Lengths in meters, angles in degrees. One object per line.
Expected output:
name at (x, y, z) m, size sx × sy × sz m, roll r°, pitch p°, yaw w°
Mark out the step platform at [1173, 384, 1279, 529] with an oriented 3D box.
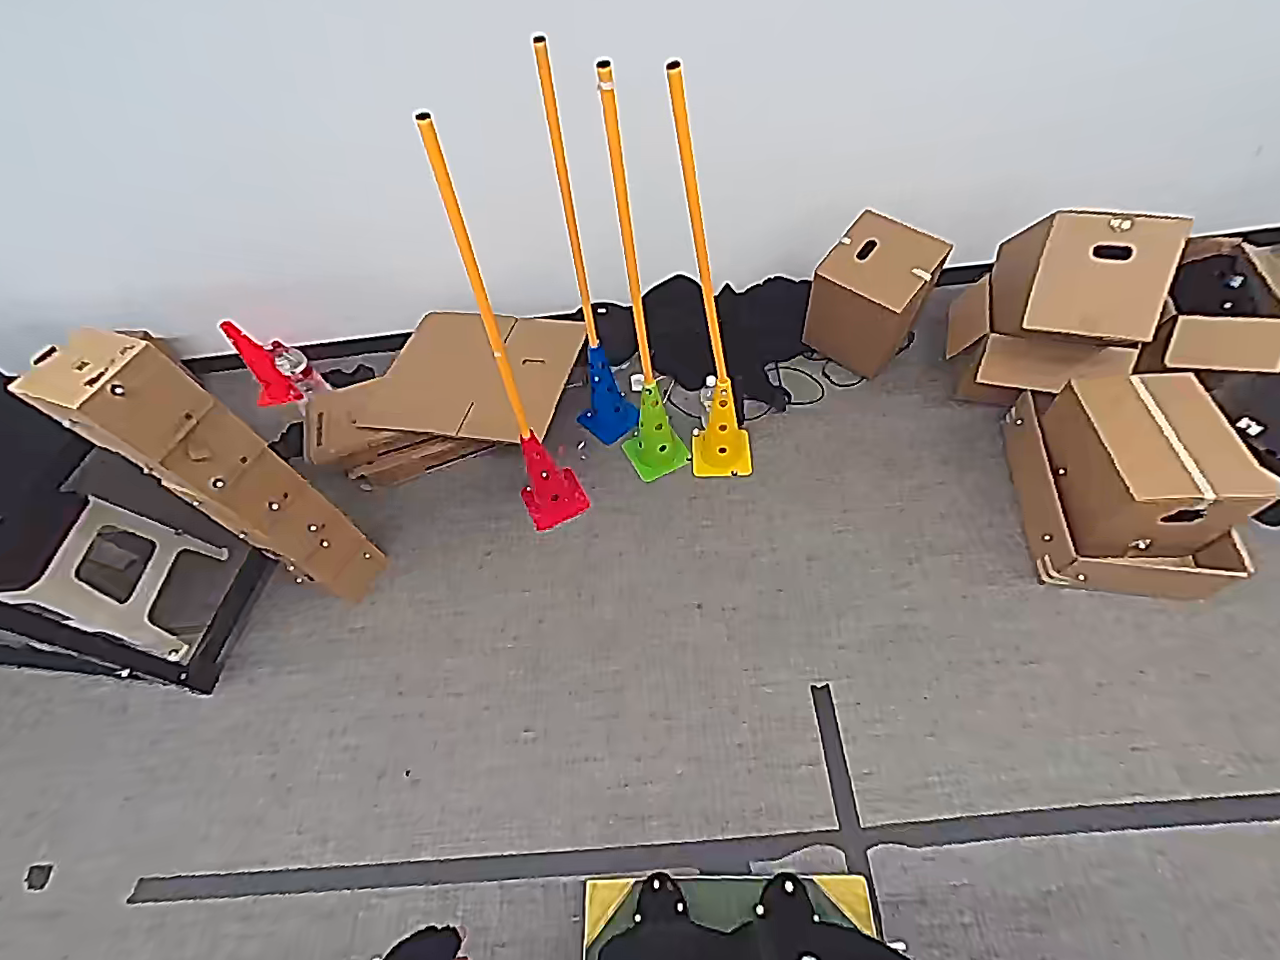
step platform at (2.003, -0.142, 1.627) m, size 0.684 × 0.204 × 0.286 m, roll -30°, pitch 57°, yaw -12°
